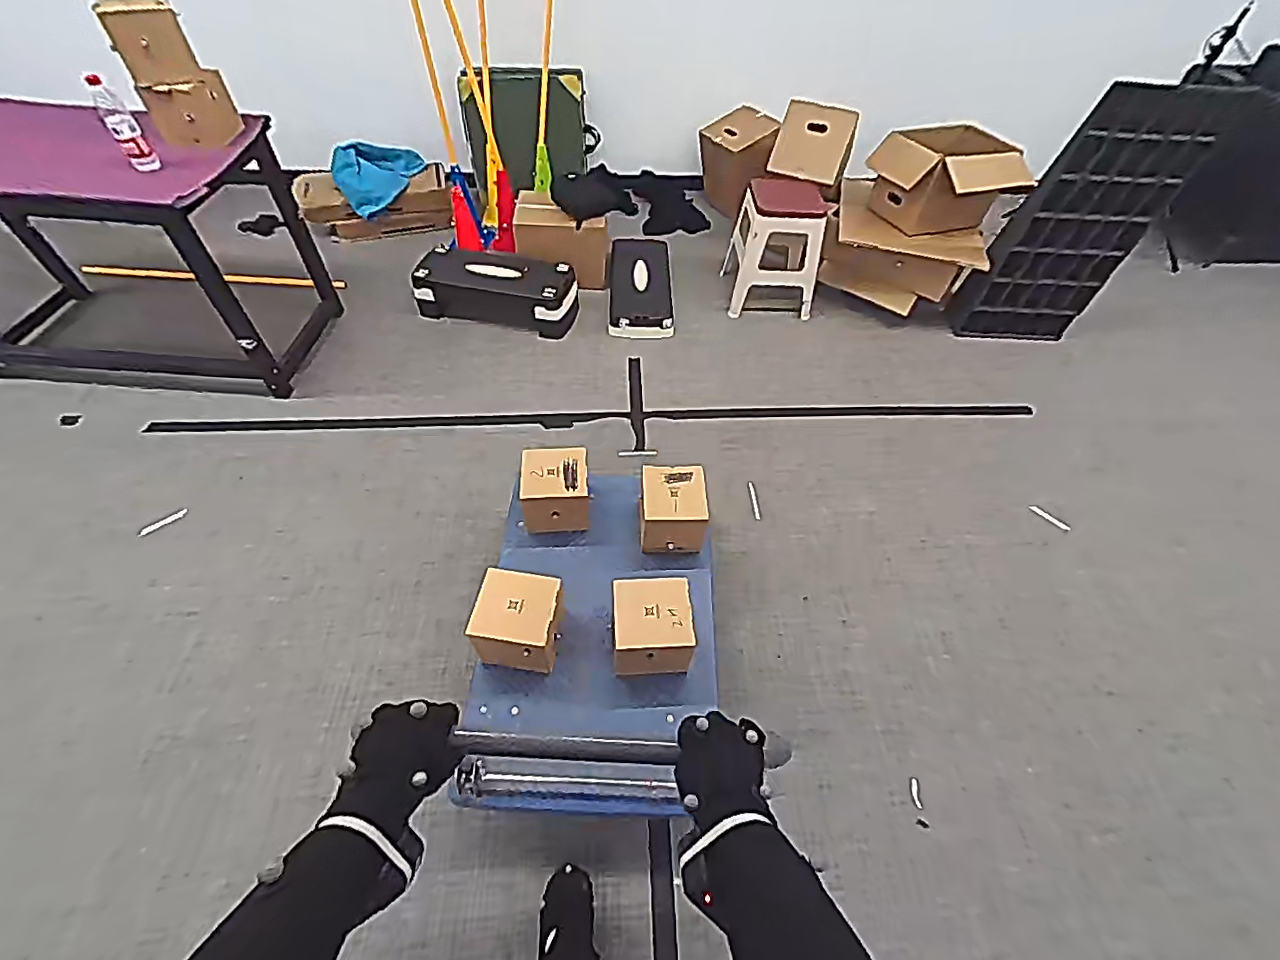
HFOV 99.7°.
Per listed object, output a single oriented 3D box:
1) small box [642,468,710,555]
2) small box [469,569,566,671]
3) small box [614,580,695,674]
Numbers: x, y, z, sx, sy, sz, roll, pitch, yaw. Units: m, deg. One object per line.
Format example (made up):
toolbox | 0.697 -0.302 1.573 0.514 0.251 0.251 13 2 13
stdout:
small box | 0.091 0.087 1.475 0.168 0.176 0.179 1 53 -2
small box | -0.277 0.332 1.266 0.179 0.176 0.168 9 52 2
small box | 0.028 0.349 1.270 0.179 0.176 0.168 -1 53 -4
